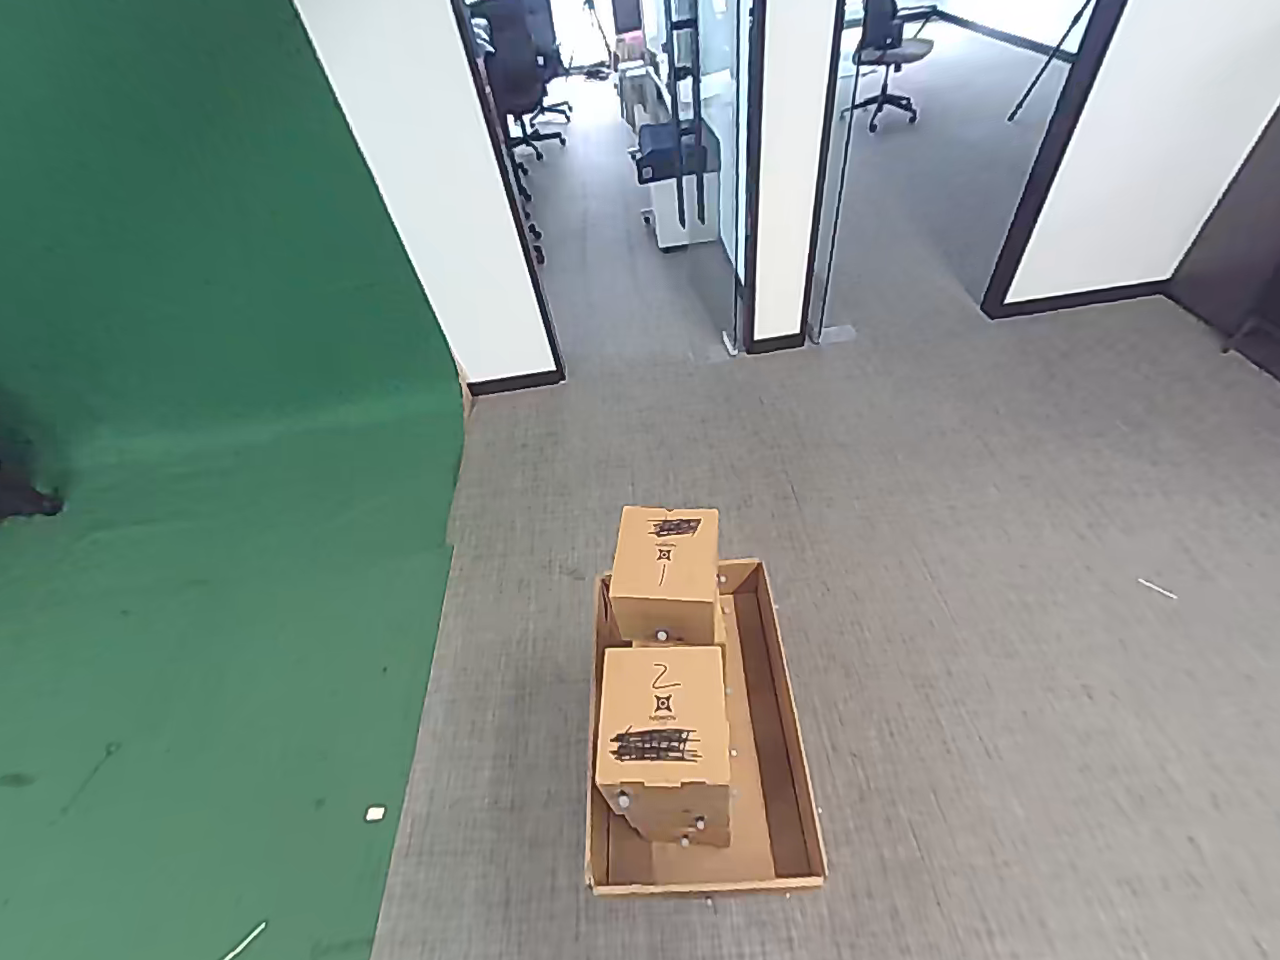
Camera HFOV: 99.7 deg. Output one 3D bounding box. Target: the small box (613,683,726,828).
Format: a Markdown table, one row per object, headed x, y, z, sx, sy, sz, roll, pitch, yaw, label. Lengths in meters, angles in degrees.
| x | y | z | sx | sy | sz | roll | pitch | yaw | label |
| --- | --- | --- | --- | --- | --- | --- | --- | --- | --- |
| 0.056 | 0.453 | 0.886 | 0.168 | 0.176 | 0.179 | -1 | 47 | 7 | small box |

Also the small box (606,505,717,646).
| x | y | z | sx | sy | sz | roll | pitch | yaw | label |
| --- | --- | --- | --- | --- | --- | --- | --- | --- | --- |
| 0.046 | 0.164 | 0.933 | 0.168 | 0.176 | 0.179 | 1 | 51 | 10 | small box |

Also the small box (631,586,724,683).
| x | y | z | sx | sy | sz | roll | pitch | yaw | label |
| --- | --- | --- | --- | --- | --- | --- | --- | --- | --- |
| 0.069 | 0.275 | 1.052 | 0.168 | 0.176 | 0.179 | -6 | 49 | 3 | small box |
